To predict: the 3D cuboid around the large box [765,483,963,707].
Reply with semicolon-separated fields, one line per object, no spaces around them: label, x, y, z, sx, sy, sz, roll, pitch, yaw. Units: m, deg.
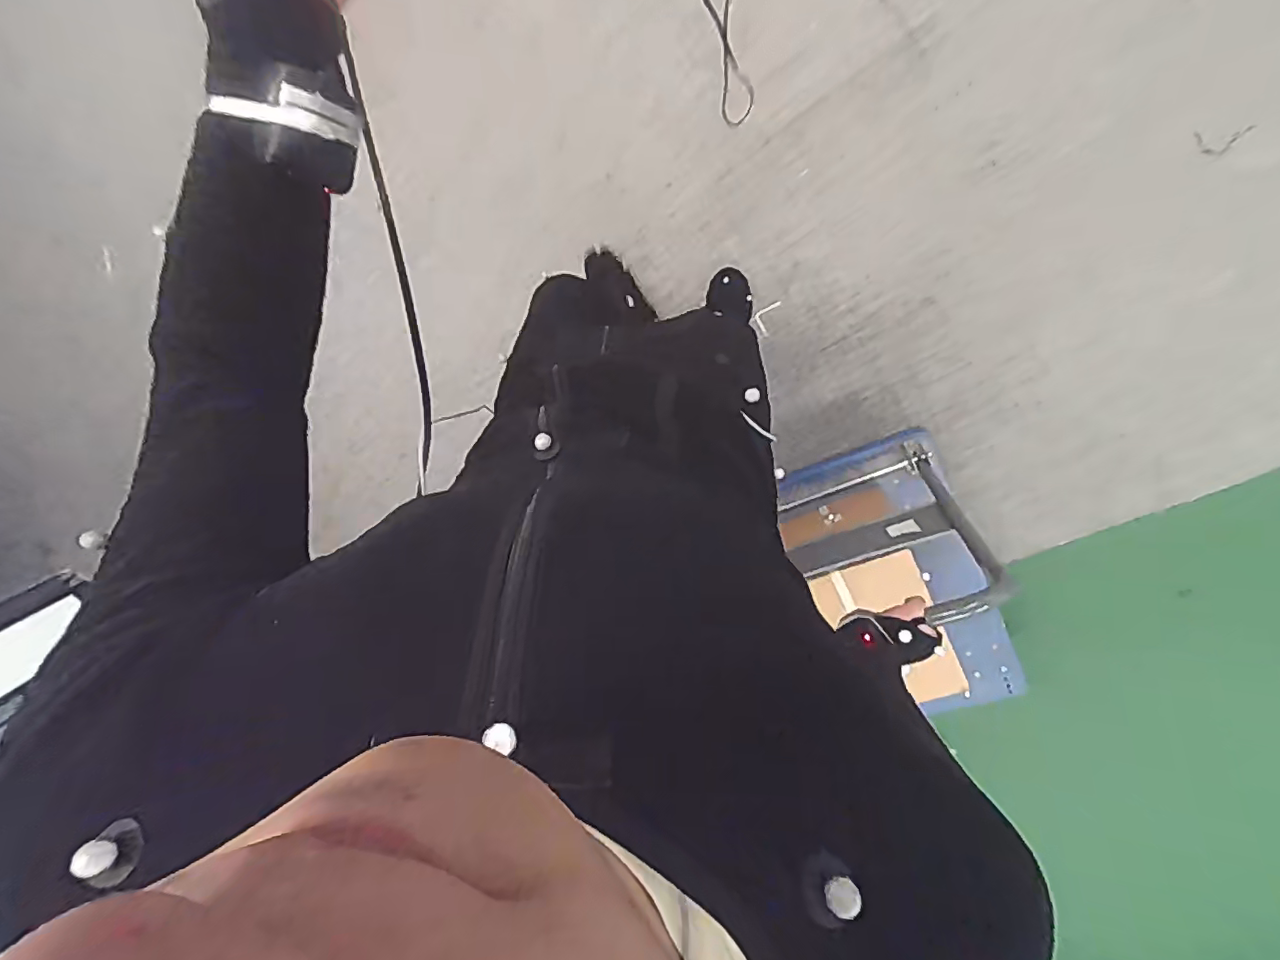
large box;0.540;0.282;1.366;0.320;0.320;0.408;-23;107;22
